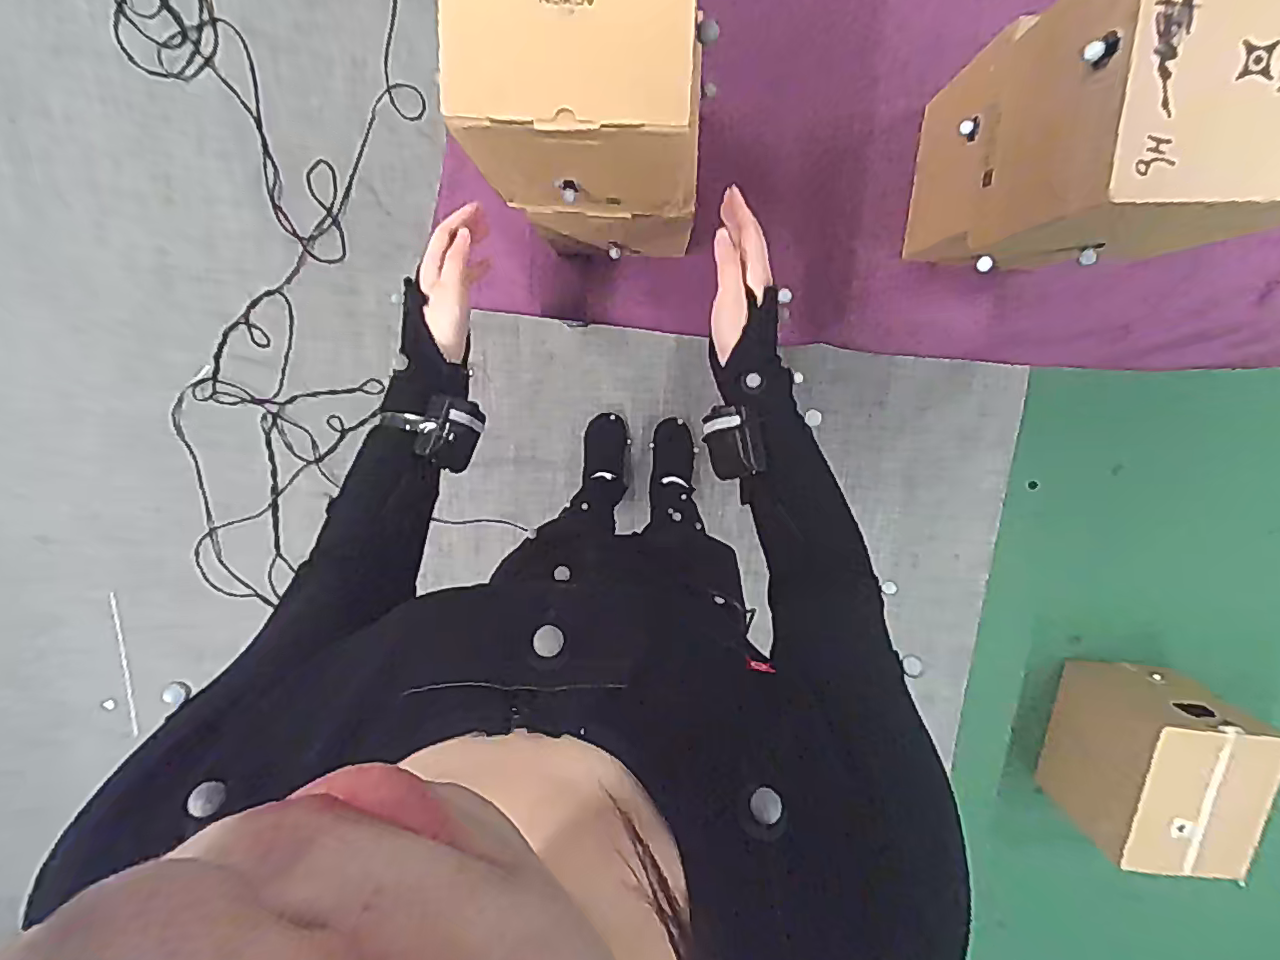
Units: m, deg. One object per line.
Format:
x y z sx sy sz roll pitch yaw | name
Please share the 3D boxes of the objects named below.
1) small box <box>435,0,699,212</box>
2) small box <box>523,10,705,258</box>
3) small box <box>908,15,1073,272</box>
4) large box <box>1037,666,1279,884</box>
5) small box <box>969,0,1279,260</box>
-0.044 -0.327 0.411 0.168 0.176 0.179 2 100 1 | small box
-0.027 -0.349 0.571 0.168 0.176 0.179 2 100 1 | small box
0.409 -0.331 0.568 0.168 0.176 0.179 5 101 1 | small box
1.343 0.756 1.430 0.320 0.320 0.408 5 102 1 | large box
0.395 -0.272 0.413 0.179 0.176 0.168 1 101 1 | small box
